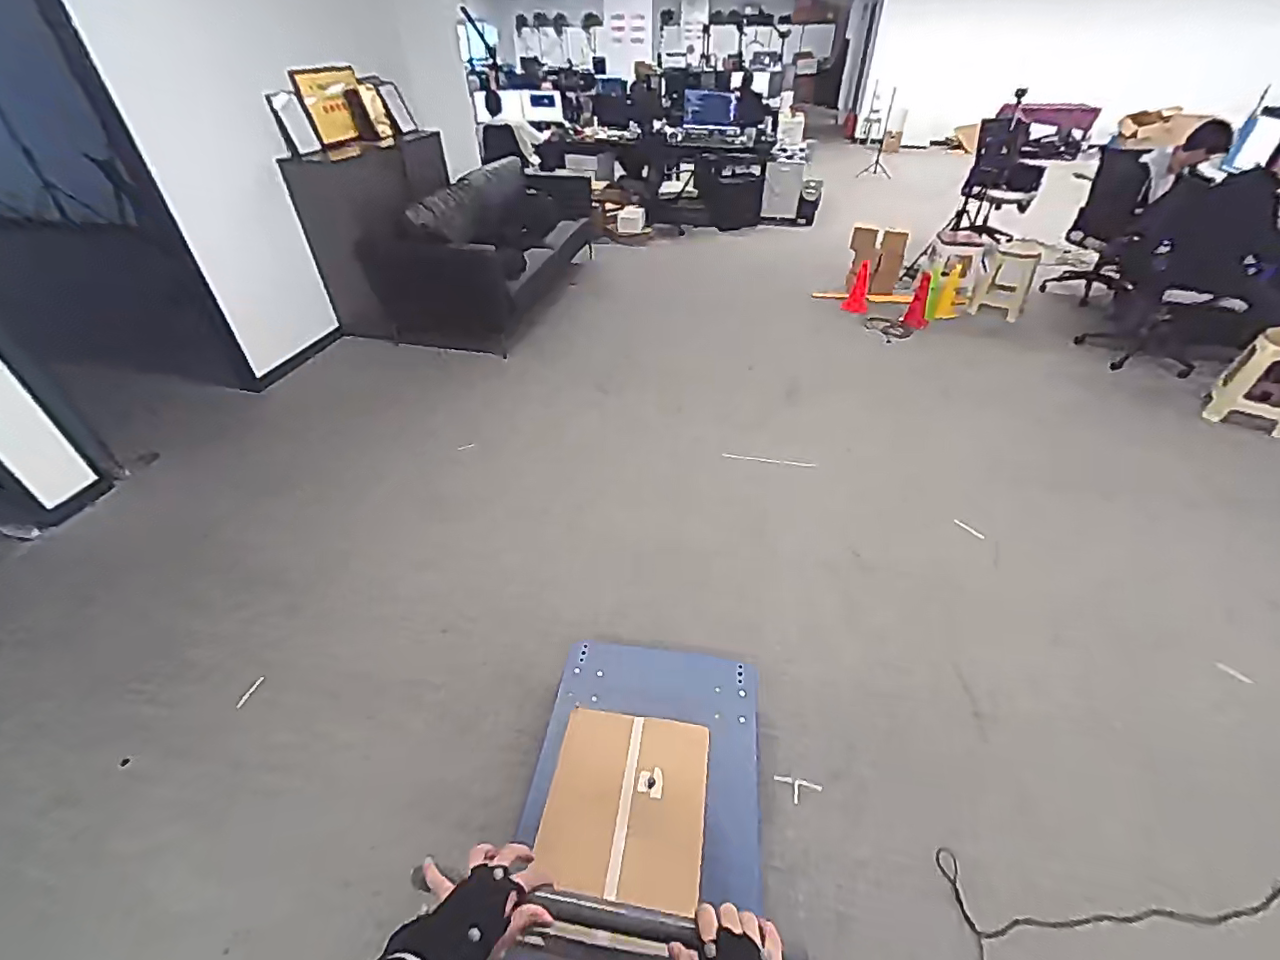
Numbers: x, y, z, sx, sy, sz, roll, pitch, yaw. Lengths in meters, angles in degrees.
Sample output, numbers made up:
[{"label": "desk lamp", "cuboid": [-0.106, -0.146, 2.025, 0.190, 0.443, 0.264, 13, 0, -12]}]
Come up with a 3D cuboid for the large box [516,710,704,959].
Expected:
[{"label": "large box", "cuboid": [-0.036, 0.772, 1.146, 0.320, 0.320, 0.408, 6, 38, 7]}]
